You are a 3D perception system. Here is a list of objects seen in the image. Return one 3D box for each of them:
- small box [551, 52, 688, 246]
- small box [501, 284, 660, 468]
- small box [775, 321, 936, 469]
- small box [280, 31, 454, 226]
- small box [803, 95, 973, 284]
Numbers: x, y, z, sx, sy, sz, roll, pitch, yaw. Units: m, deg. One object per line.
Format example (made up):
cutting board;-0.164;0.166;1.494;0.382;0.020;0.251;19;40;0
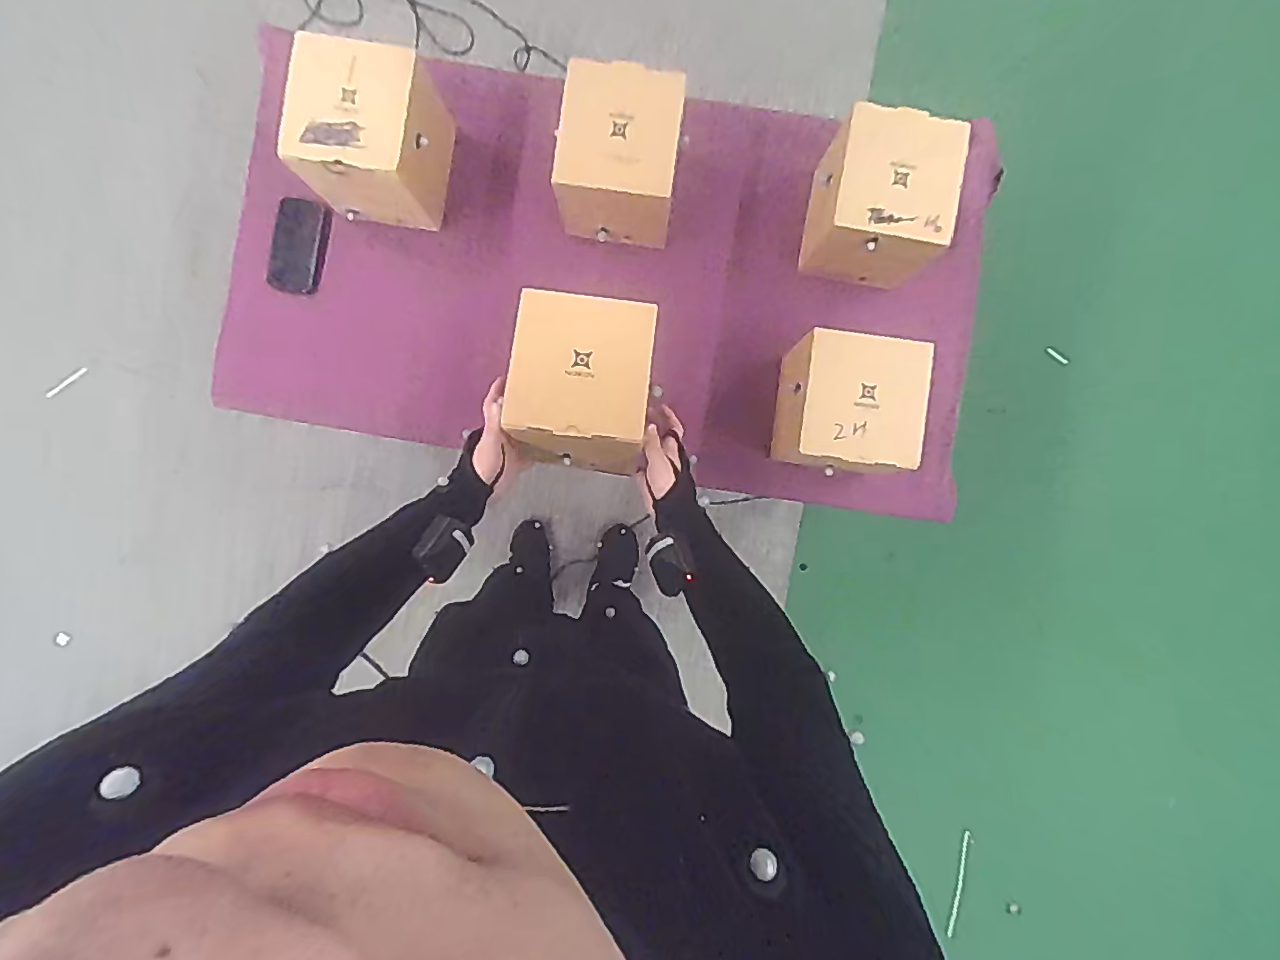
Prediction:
small box;-0.028;-0.481;0.810;0.168;0.176;0.179;8;90;1
small box;-0.071;-0.123;0.701;0.168;0.176;0.179;7;81;-2
small box;0.306;-0.115;0.802;0.168;0.176;0.179;8;90;2
small box;-0.393;-0.508;0.807;0.168;0.176;0.179;8;89;0
small box;0.356;-0.421;0.808;0.168;0.176;0.179;10;89;1
